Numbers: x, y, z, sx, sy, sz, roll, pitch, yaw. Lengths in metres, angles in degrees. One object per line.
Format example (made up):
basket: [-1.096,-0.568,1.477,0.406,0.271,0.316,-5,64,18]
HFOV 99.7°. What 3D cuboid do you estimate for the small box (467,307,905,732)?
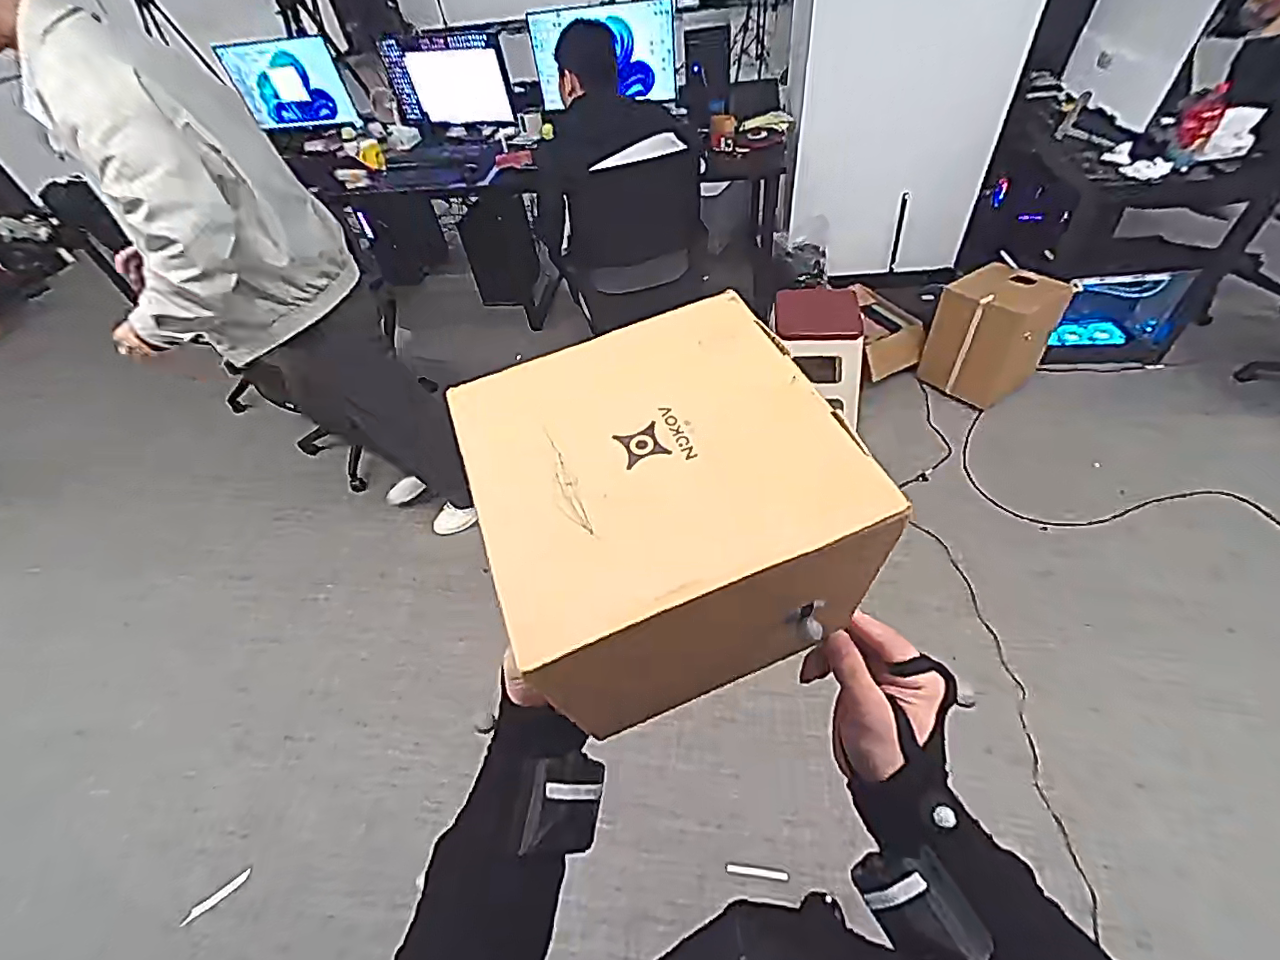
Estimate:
small box: [0.019,0.032,0.337,0.179,0.176,0.168,-22,55,-6]
